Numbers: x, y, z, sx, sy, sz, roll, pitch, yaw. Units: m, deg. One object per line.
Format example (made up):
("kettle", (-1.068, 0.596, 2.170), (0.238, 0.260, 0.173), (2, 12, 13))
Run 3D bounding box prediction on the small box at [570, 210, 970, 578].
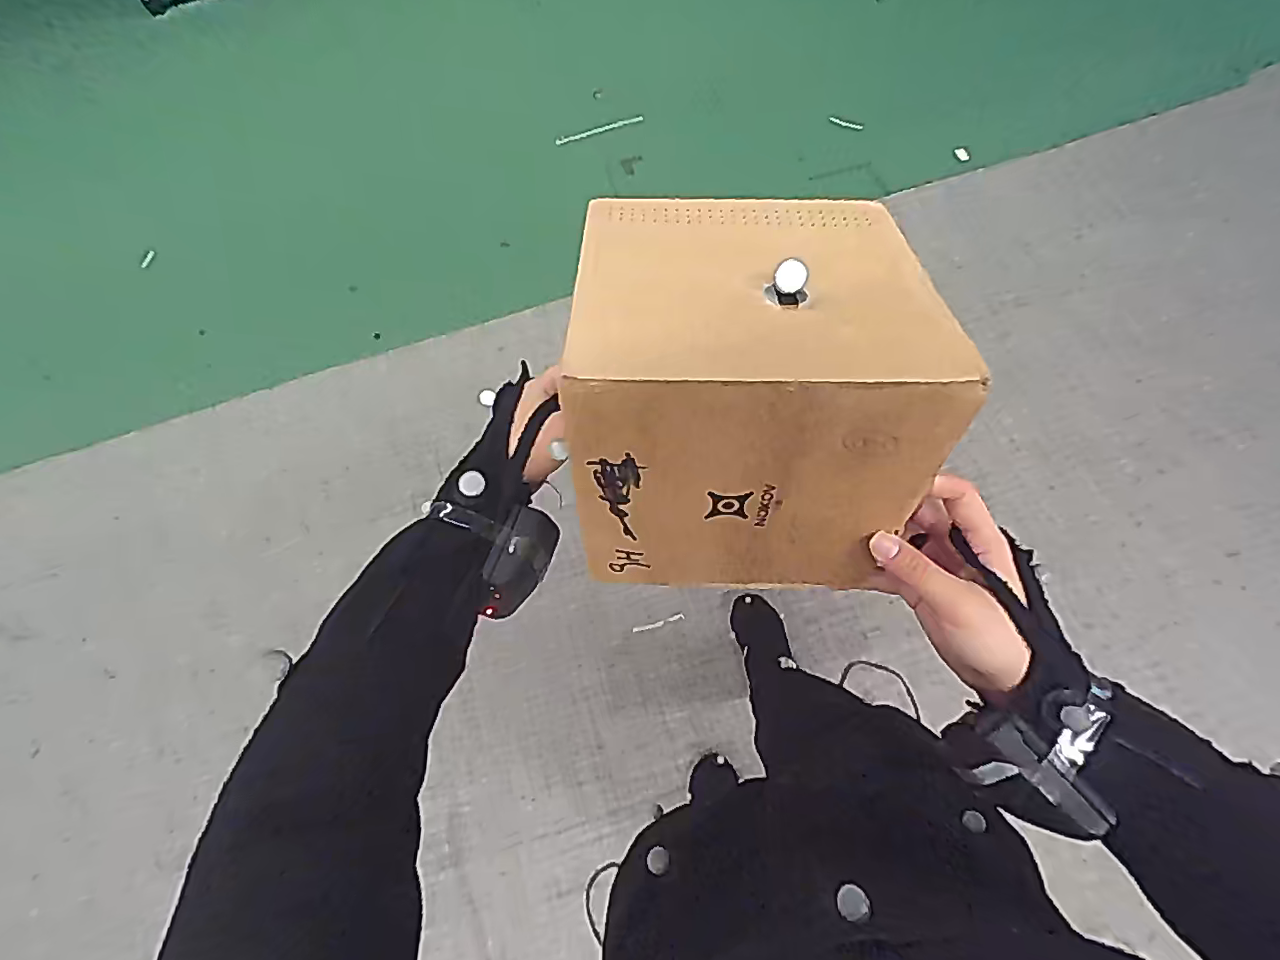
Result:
("small box", (0.054, -0.053, 0.340), (0.179, 0.168, 0.176), (0, 49, 0))
